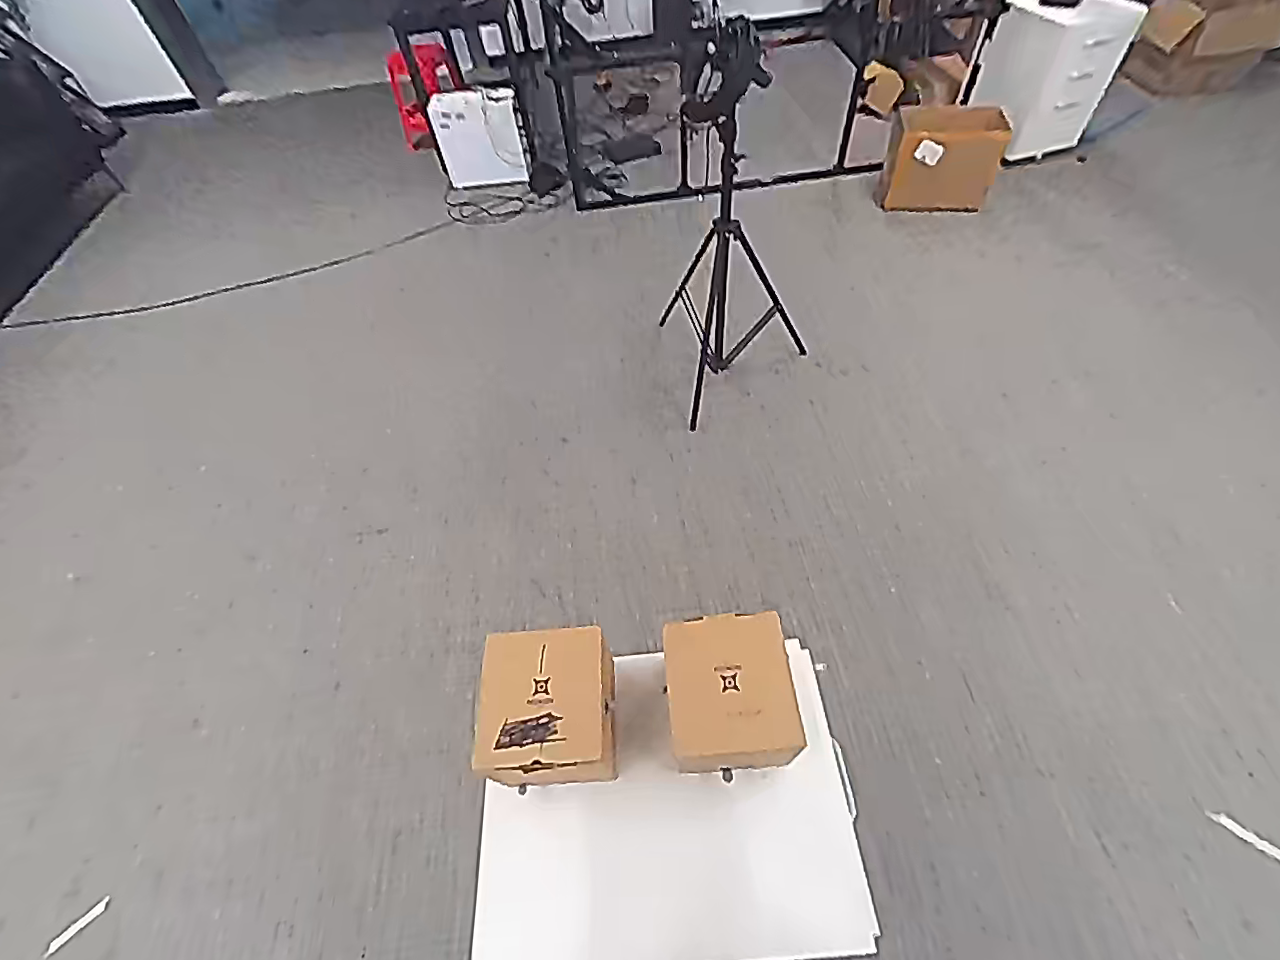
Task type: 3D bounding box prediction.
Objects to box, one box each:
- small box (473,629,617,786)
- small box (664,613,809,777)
[{"bbox_3d":[-0.124,0.332,0.776,0.168,0.176,0.179,-5,54,2],"label":"small box"},{"bbox_3d":[0.126,0.310,0.770,0.168,0.176,0.179,-7,55,2],"label":"small box"}]
